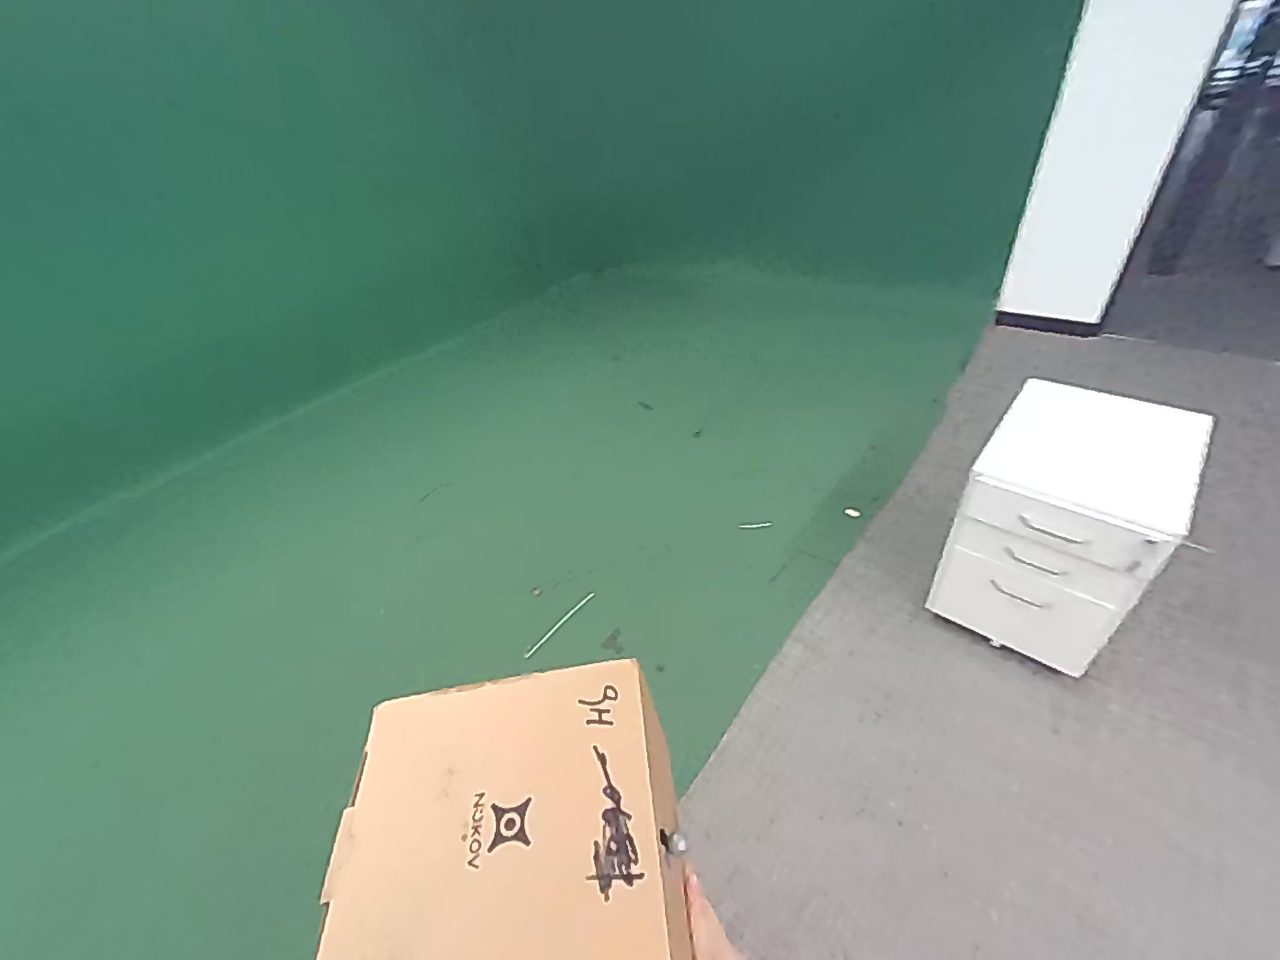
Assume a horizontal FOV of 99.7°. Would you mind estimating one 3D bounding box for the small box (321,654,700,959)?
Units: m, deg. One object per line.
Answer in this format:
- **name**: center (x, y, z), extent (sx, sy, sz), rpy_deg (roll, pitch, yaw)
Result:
- **small box**: center (-0.063, 0.240, 0.355), extent (0.179, 0.176, 0.168), rpy_deg (-10, 45, 3)
